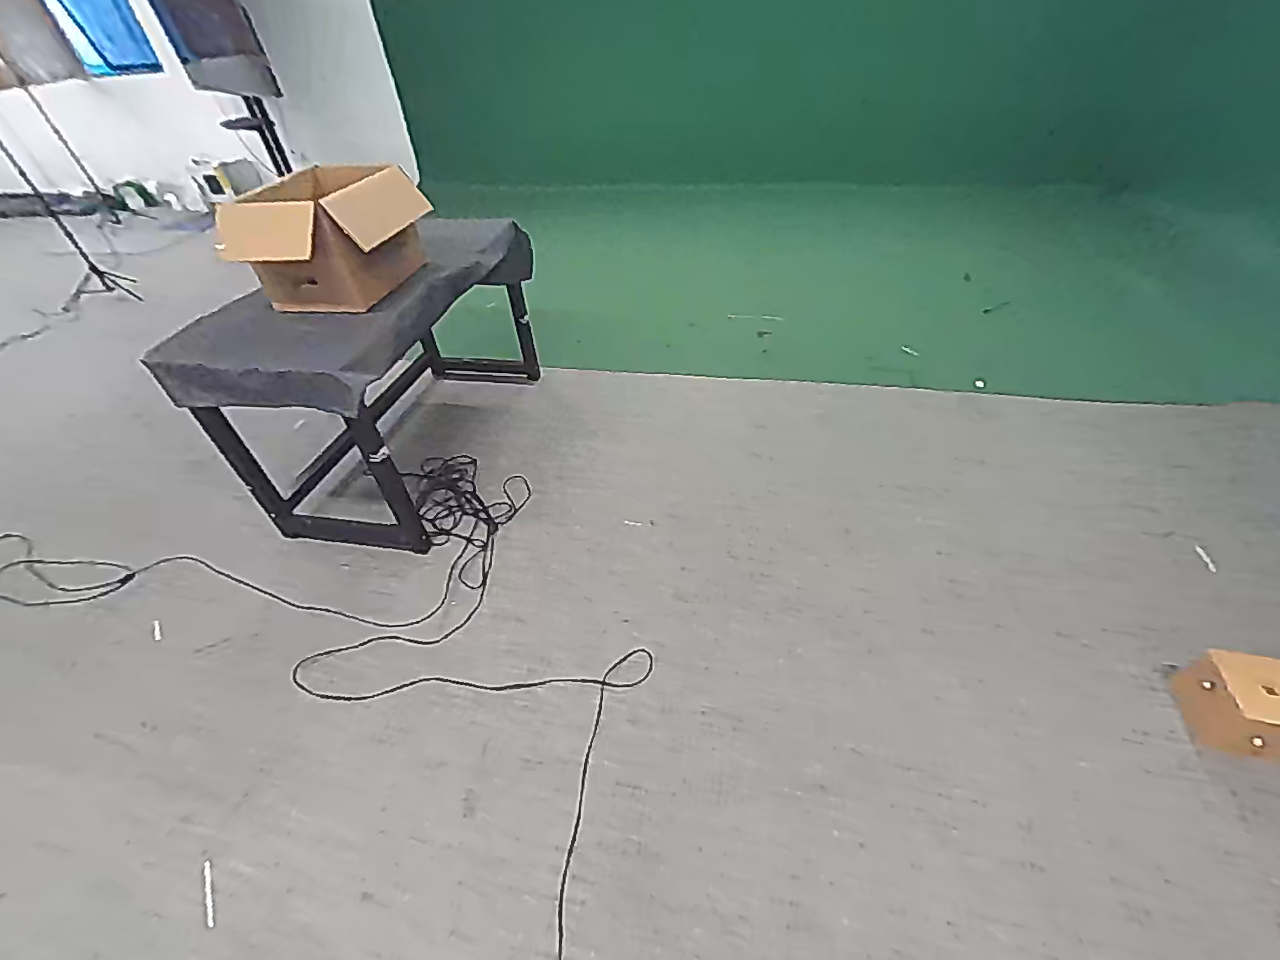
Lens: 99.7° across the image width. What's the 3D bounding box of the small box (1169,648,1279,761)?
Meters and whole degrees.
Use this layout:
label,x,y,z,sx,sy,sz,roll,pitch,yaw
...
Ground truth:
label,x,y,z,sx,sy,sz,roll,pitch,yaw
small box,1.397,0.521,1.250,0.168,0.176,0.179,7,43,13
